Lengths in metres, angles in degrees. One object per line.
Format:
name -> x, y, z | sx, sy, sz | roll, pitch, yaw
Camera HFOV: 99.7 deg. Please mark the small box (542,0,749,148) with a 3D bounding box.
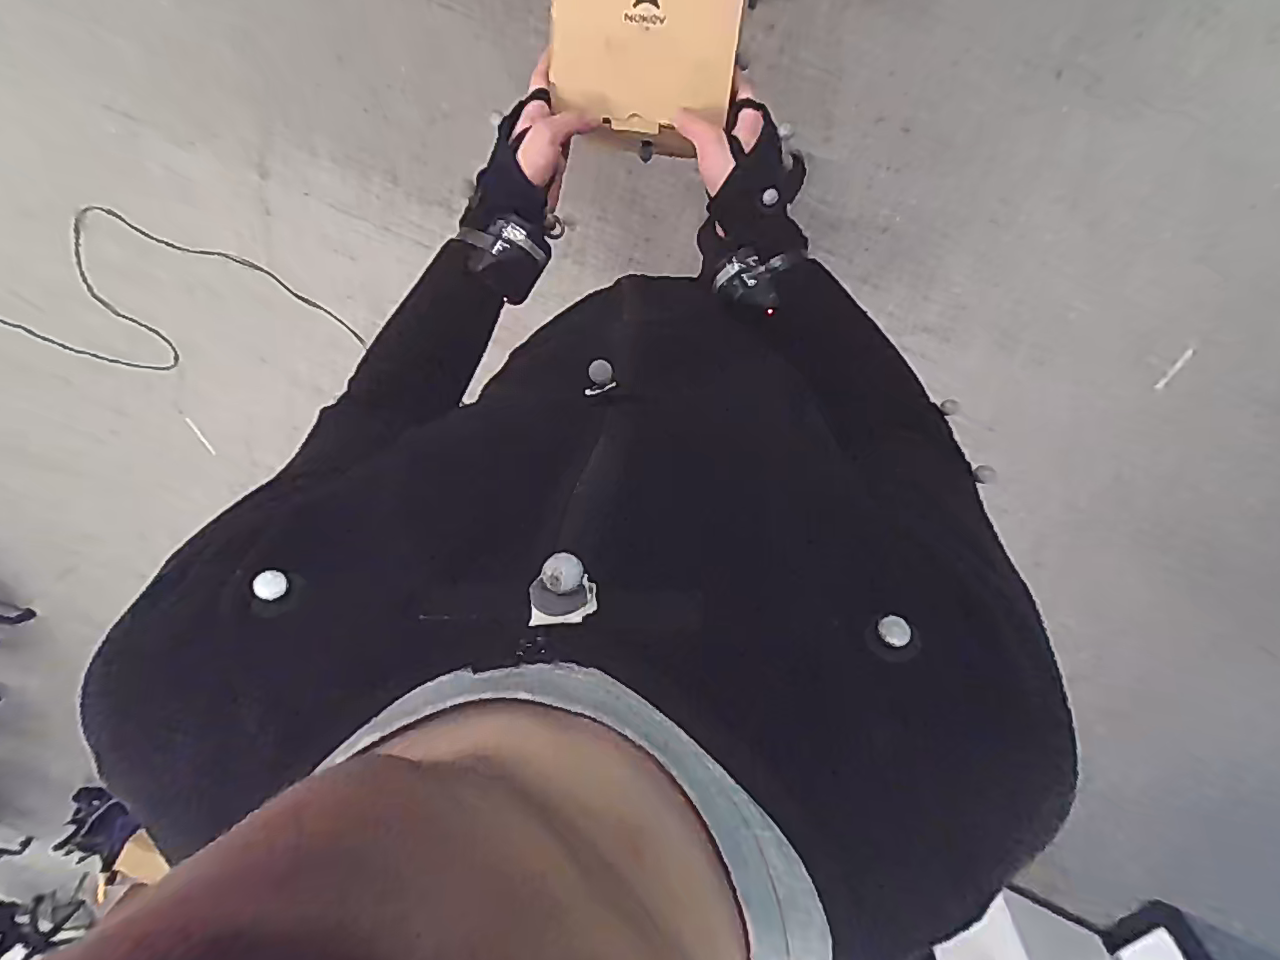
small box -> 0.014, -0.430, 0.511 | 0.168, 0.176, 0.179 | 9, 114, 4
